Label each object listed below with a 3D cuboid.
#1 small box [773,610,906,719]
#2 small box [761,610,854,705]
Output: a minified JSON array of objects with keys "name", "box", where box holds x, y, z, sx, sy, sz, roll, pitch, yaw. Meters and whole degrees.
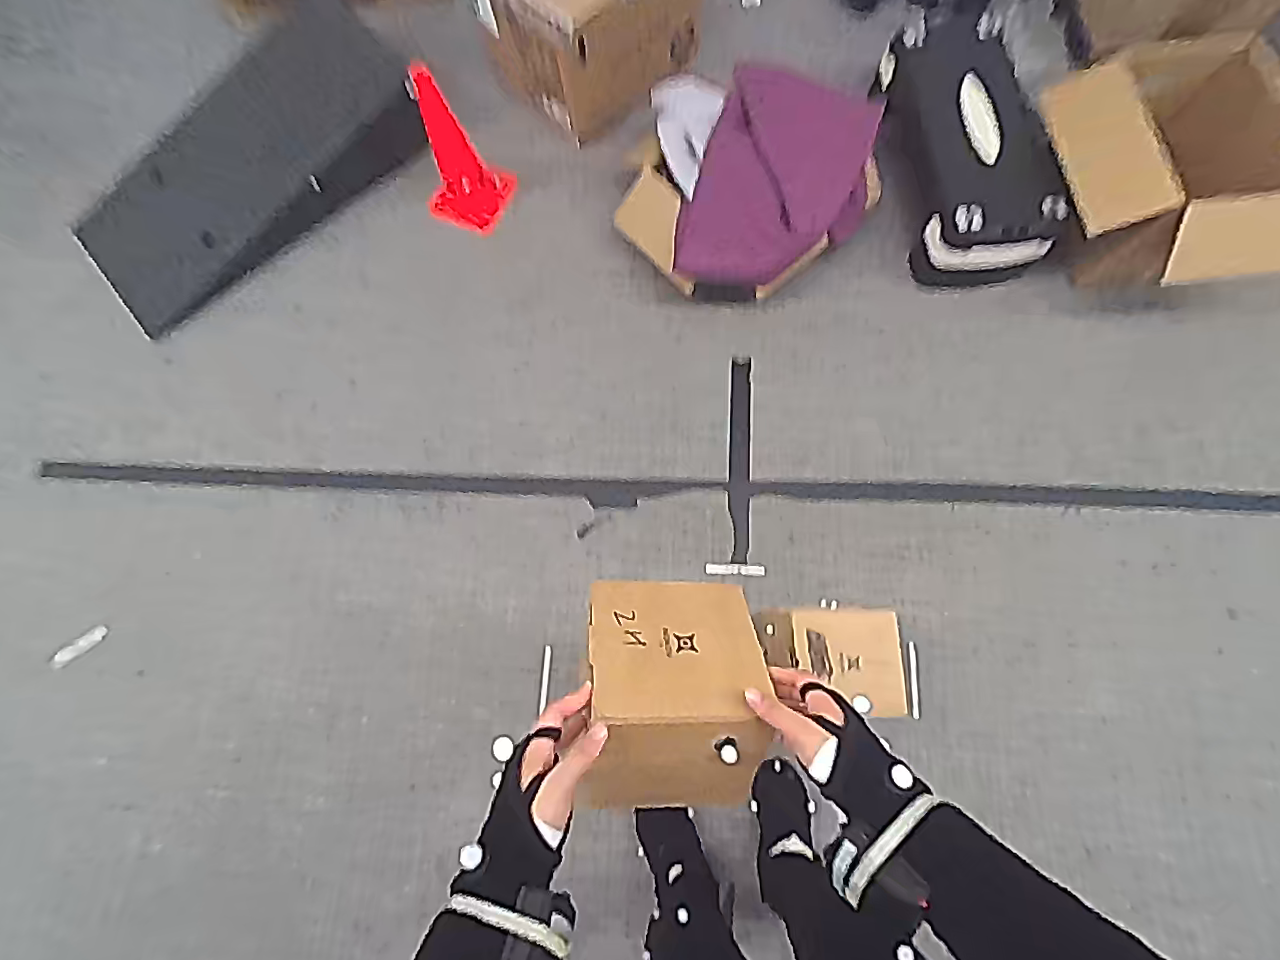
[{"name":"small box","box":[0.335,0.318,0.949,0.179,0.176,0.168,0,75,1]},{"name":"small box","box":[0.347,0.358,1.110,0.168,0.176,0.179,0,76,2]}]
